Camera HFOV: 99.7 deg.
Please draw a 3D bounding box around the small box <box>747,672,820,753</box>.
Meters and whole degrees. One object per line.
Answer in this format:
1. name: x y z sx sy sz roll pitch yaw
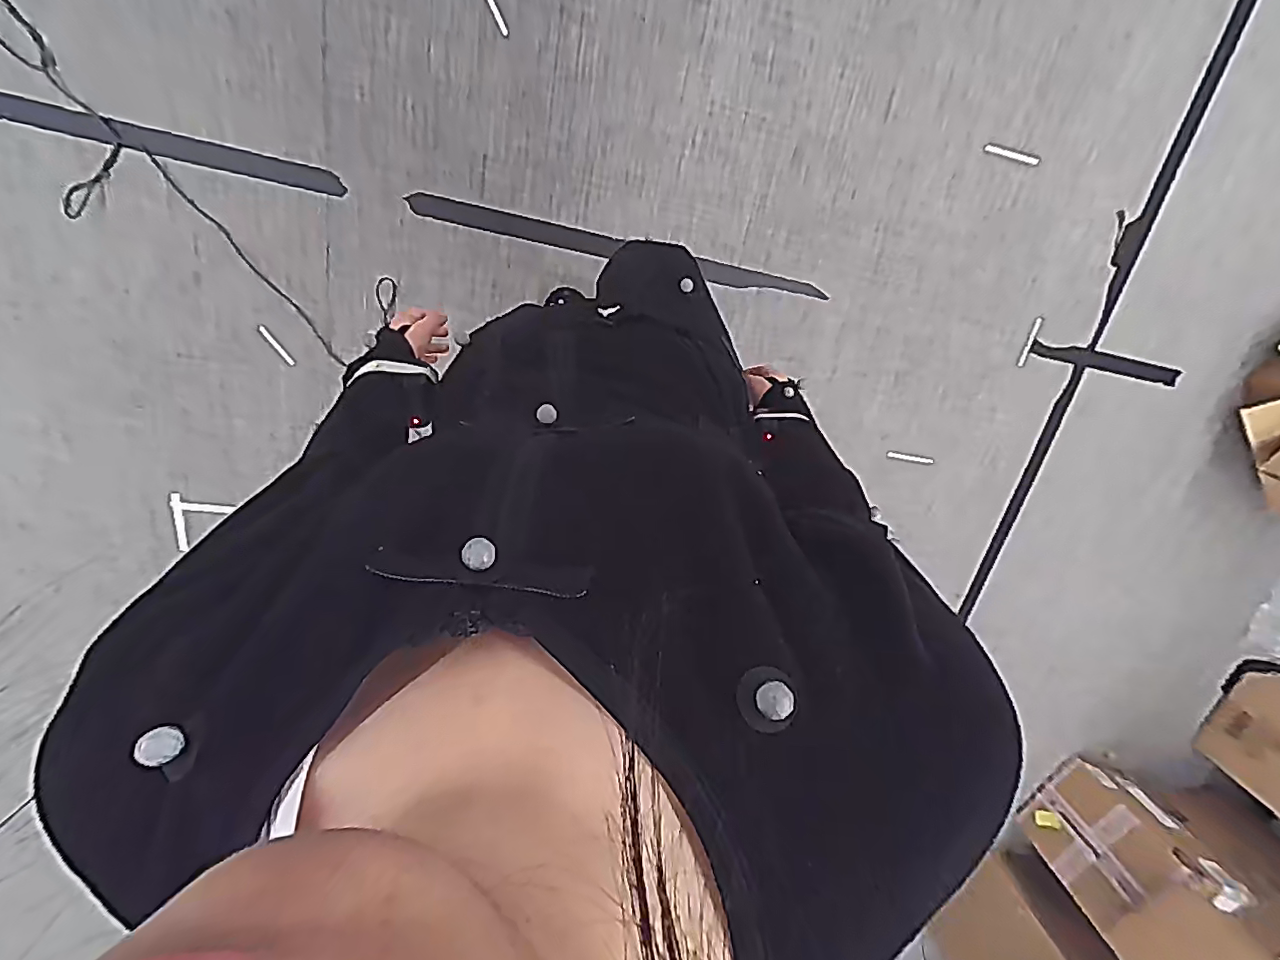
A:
1. small box: 0.487 0.788 1.857 0.168 0.176 0.179 -26 114 5
